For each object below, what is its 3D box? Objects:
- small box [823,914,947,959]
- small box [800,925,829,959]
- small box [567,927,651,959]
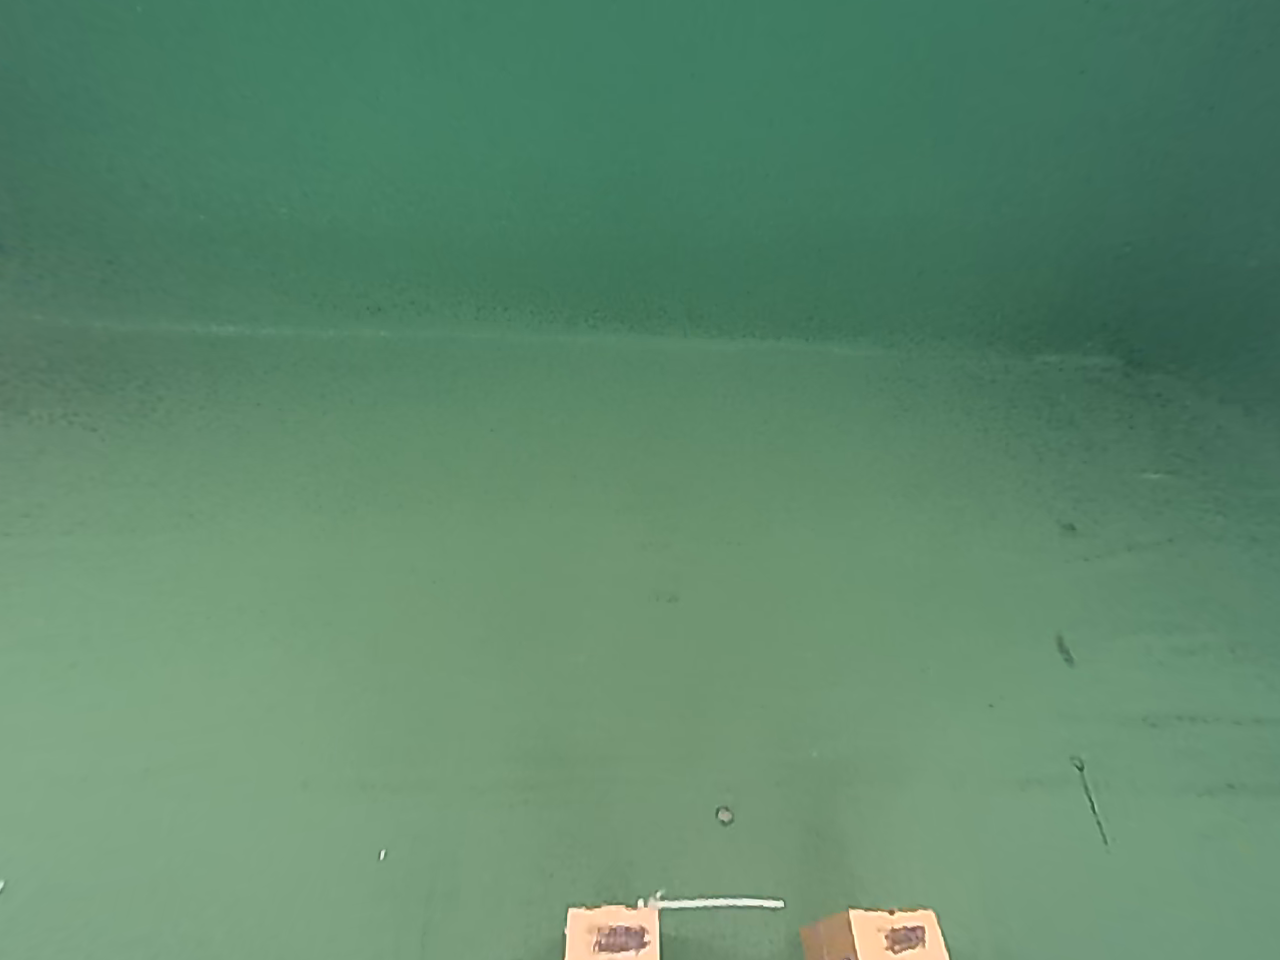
[{"bbox_3d":[0.452,0.913,0.983,0.168,0.176,0.179,2,45,-3],"label":"small box"},{"bbox_3d":[0.439,1.029,1.098,0.168,0.176,0.179,3,45,-3],"label":"small box"},{"bbox_3d":[-0.063,1.012,1.074,0.168,0.176,0.179,1,44,-3],"label":"small box"}]
